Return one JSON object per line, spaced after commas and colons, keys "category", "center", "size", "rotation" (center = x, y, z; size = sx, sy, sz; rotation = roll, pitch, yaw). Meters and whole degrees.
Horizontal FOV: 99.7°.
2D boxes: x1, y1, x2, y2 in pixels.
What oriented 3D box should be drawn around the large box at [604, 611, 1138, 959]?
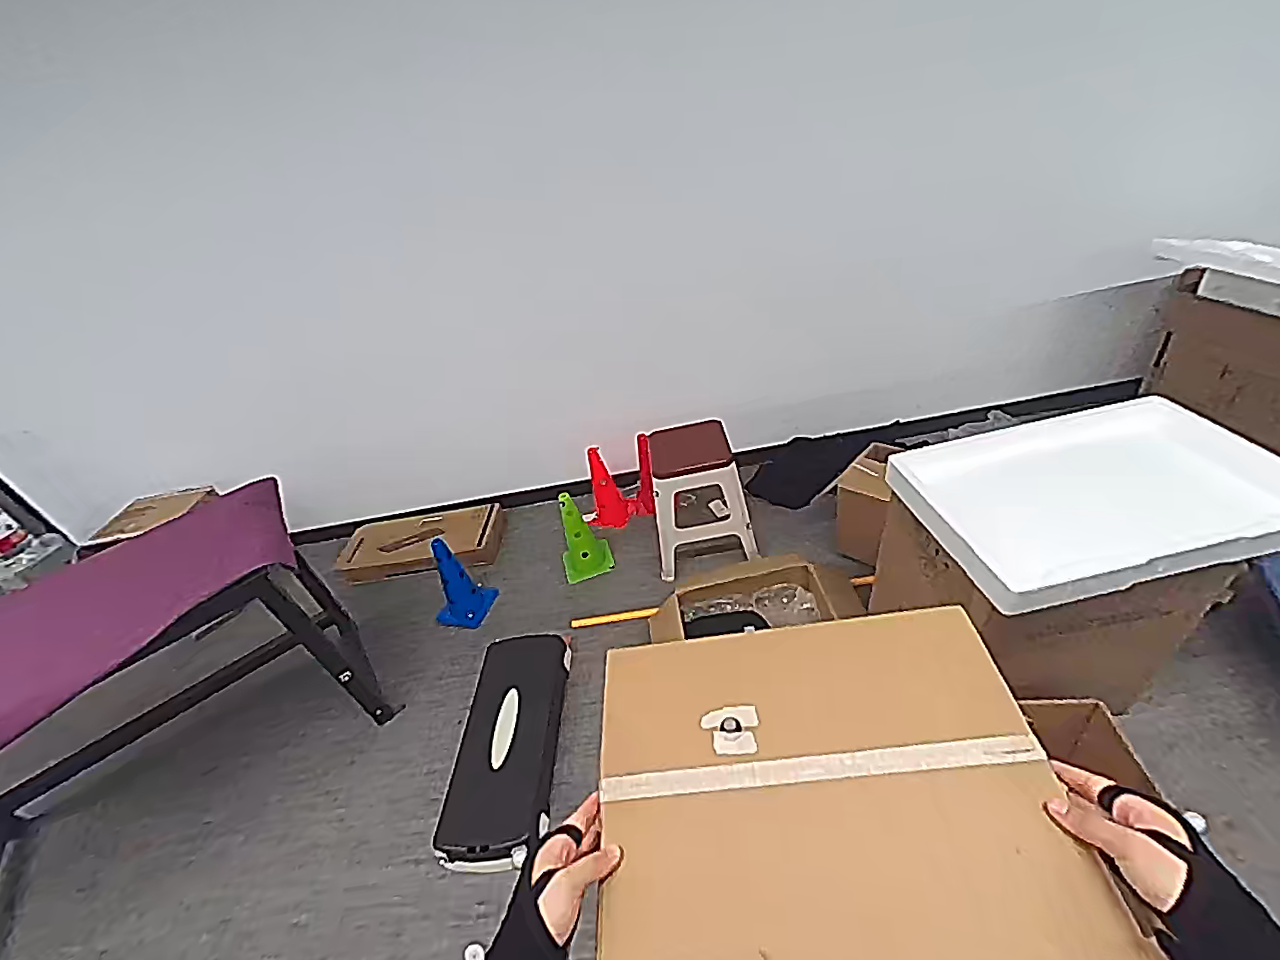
{"category": "large box", "center": [0.194, 0.393, 0.613], "size": [0.408, 0.320, 0.320], "rotation": [-11, 39, 8]}
